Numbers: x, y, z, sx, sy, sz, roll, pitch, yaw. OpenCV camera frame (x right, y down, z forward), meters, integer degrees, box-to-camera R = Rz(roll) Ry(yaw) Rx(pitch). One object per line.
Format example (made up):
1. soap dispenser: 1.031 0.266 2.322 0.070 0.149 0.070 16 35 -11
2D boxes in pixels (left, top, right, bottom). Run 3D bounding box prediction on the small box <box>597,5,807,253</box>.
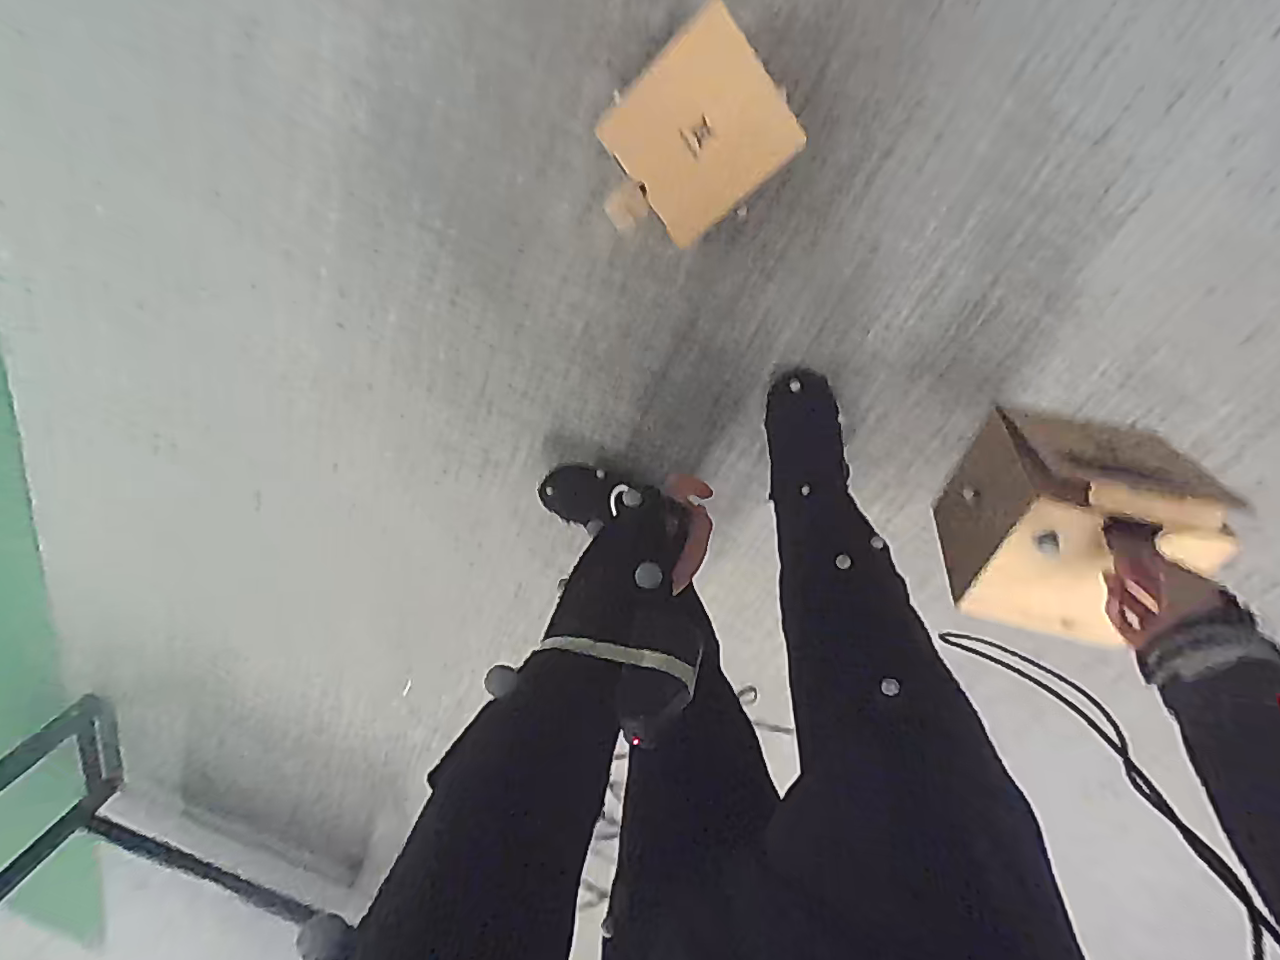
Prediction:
1. small box: 0.077 -0.410 0.663 0.179 0.176 0.168 -34 106 24
